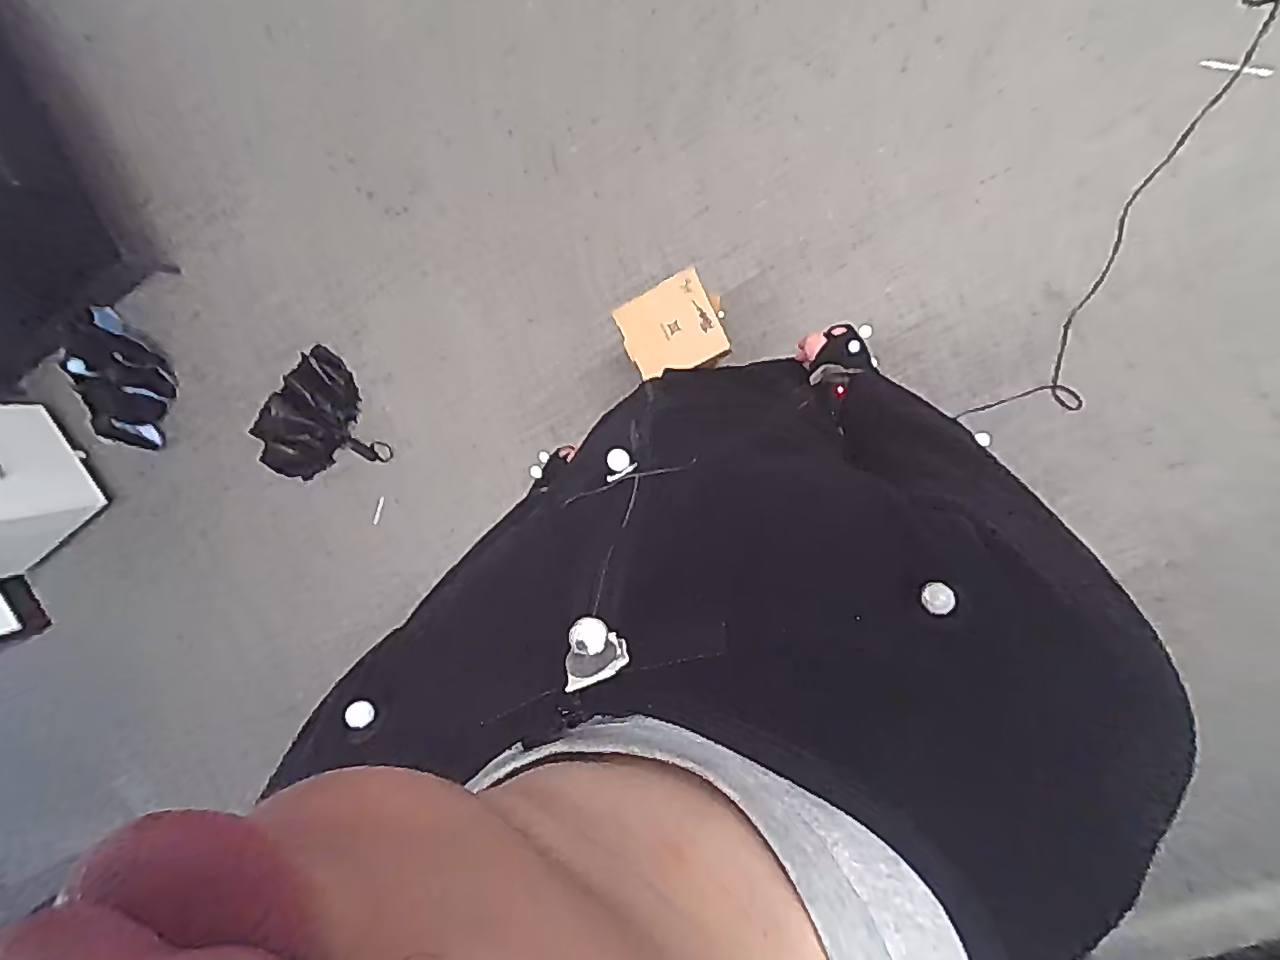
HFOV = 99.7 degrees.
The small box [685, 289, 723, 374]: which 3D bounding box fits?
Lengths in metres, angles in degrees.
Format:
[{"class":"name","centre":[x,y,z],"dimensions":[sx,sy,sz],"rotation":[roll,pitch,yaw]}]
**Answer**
[{"class":"small box","centre":[0.102,-0.335,1.243],"dimensions":[0.168,0.176,0.179],"rotation":[3,103,11]}]

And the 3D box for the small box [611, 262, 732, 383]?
[{"class":"small box","centre":[0.071,-0.305,1.085],"dimensions":[0.179,0.176,0.168],"rotation":[-25,95,16]}]
